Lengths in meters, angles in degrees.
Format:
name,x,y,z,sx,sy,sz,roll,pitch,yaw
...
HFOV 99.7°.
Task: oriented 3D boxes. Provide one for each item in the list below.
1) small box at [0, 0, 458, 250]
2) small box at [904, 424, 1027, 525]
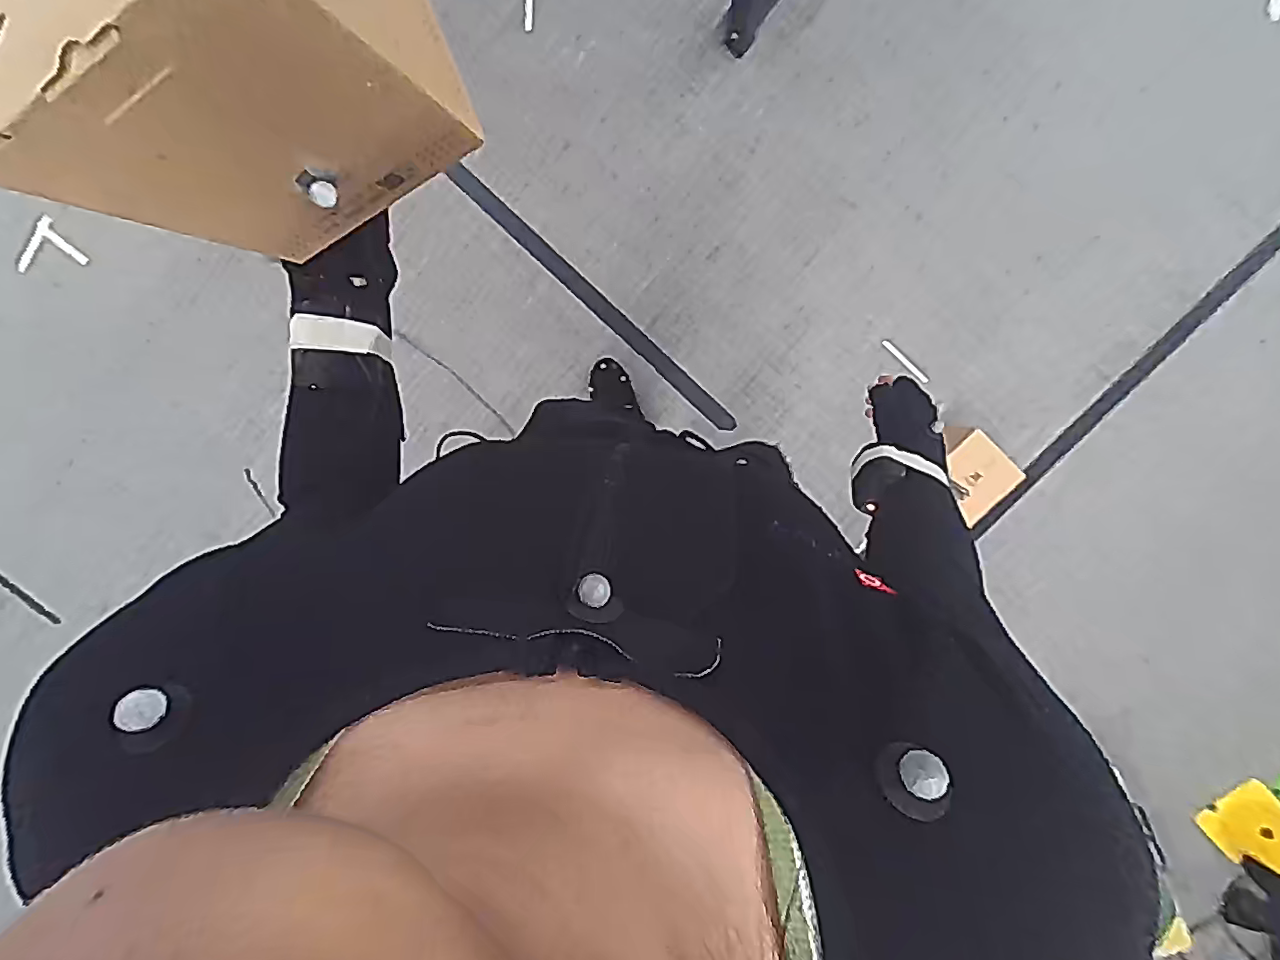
name,x,y,z,sx,sy,sz,roll,pitch,yaw
small box,-0.228,-0.246,0.274,0.168,0.176,0.179,-17,97,19
small box,0.782,-0.020,1.329,0.168,0.176,0.179,44,100,-4
